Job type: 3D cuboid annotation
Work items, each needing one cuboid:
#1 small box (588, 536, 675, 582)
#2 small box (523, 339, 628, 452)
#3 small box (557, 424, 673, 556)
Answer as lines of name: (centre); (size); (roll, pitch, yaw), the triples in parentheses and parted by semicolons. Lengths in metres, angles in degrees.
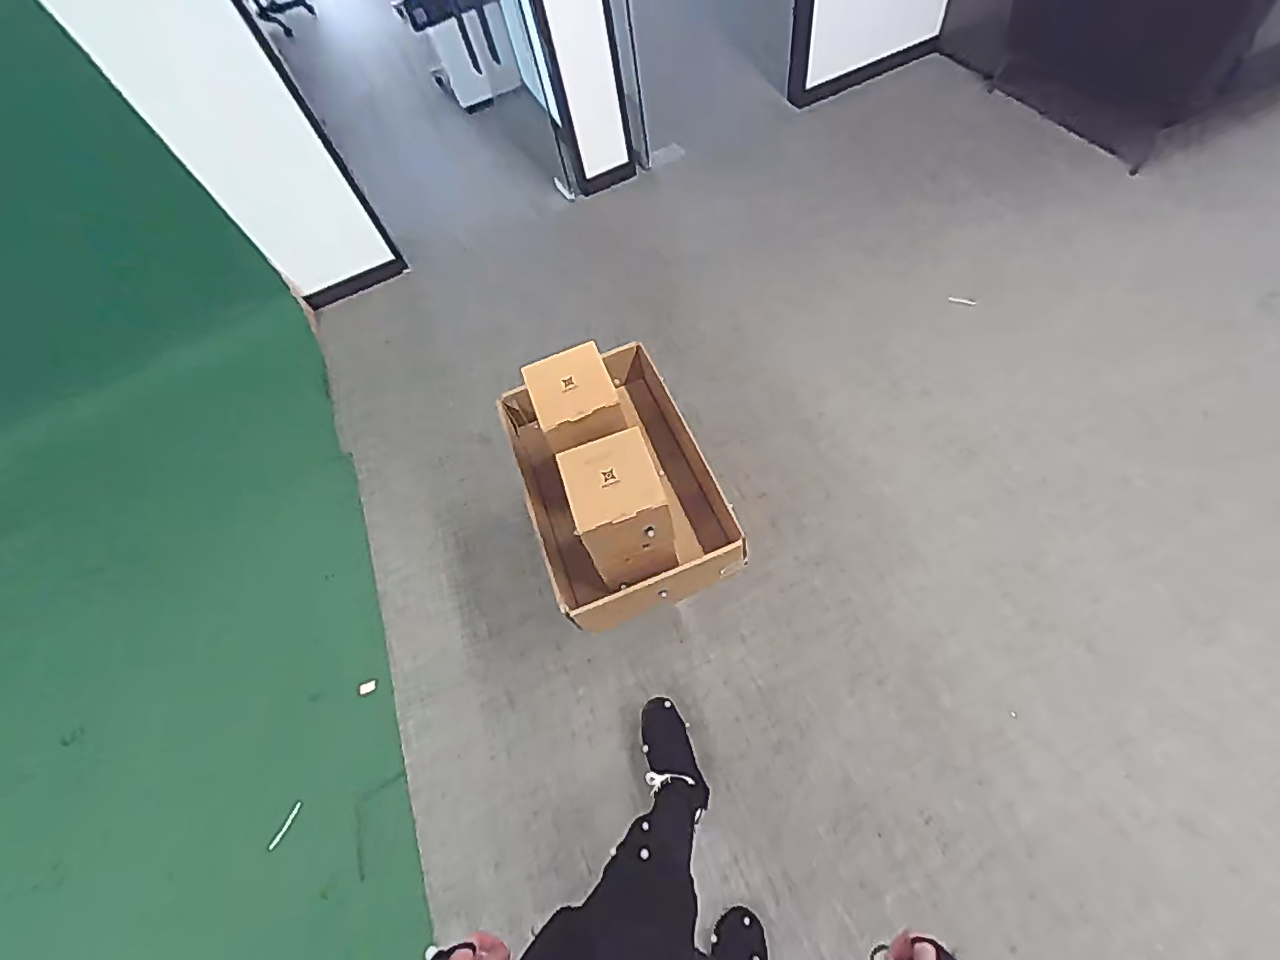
small box: (-0.030, 0.104, 1.175); (0.168, 0.176, 0.179); (-21, 59, -3)
small box: (-0.131, -0.162, 1.156); (0.168, 0.176, 0.179); (-22, 62, -4)
small box: (-0.042, 0.028, 1.031); (0.168, 0.176, 0.179); (-19, 59, -3)
